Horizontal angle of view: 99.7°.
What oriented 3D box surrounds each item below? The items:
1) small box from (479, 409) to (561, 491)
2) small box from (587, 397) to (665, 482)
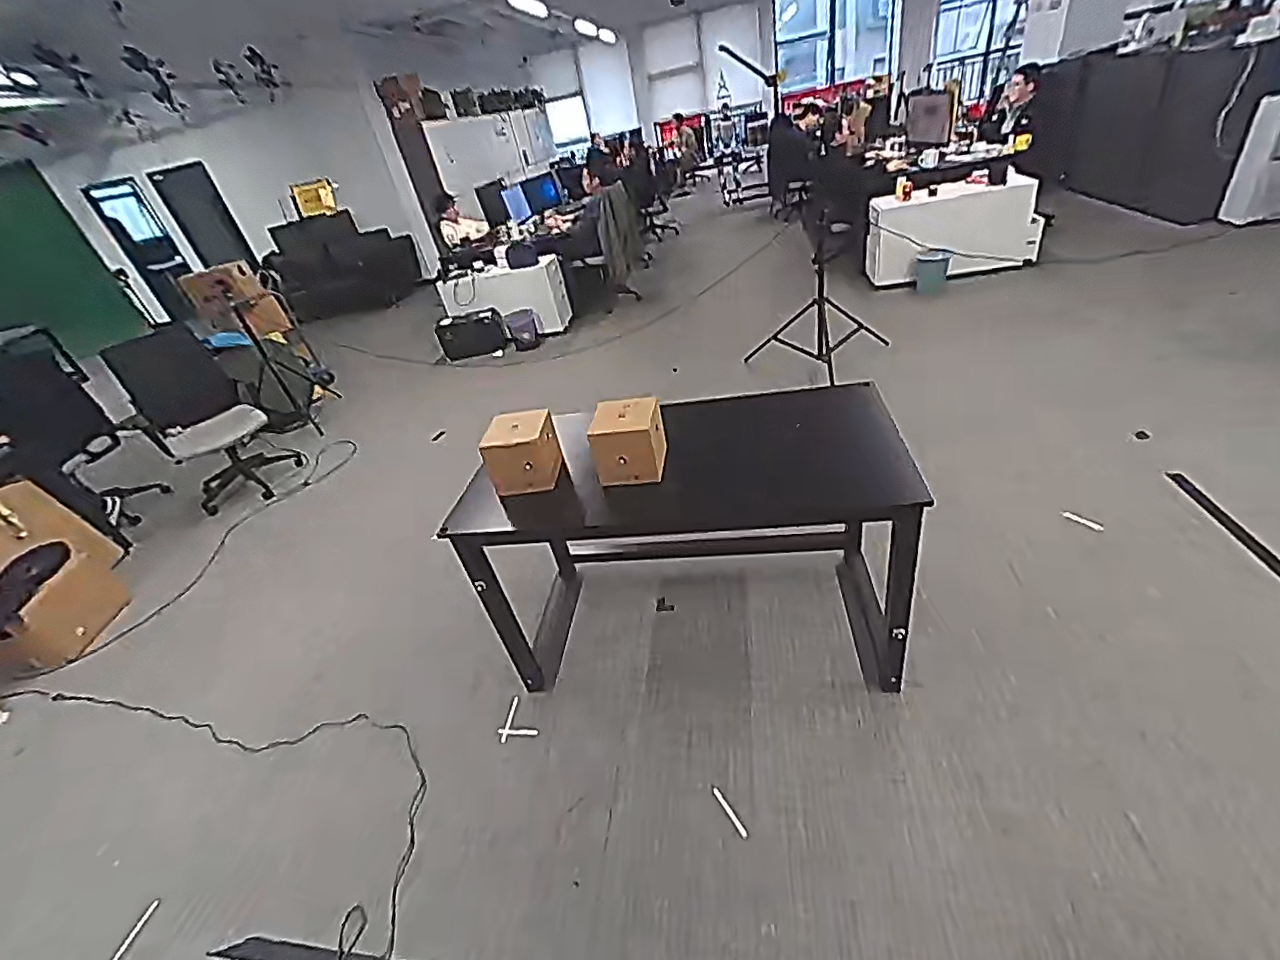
[{"bbox_3d":[-0.331,-0.079,1.531,0.168,0.176,0.179,-7,34,7],"label":"small box"},{"bbox_3d":[-0.031,-0.106,1.468,0.168,0.176,0.179,-4,35,13],"label":"small box"}]
